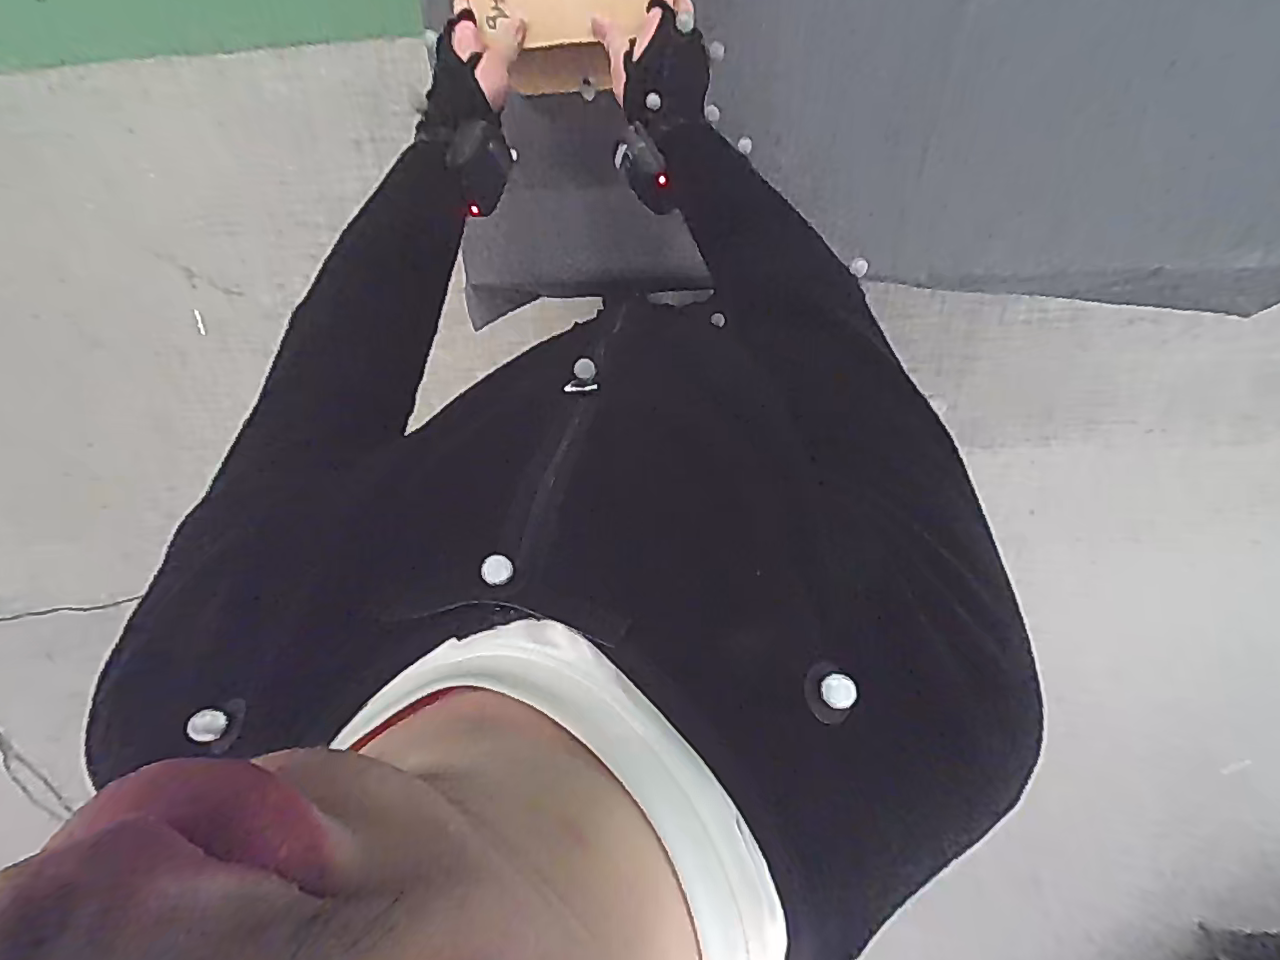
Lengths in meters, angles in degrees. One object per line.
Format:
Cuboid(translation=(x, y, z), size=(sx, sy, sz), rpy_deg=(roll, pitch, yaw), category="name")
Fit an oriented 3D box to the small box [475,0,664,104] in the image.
Cuboid(translation=(-0.065, -0.507, 0.558), size=(0.179, 0.176, 0.168), rpy_deg=(-1, 113, 4), category="small box")
